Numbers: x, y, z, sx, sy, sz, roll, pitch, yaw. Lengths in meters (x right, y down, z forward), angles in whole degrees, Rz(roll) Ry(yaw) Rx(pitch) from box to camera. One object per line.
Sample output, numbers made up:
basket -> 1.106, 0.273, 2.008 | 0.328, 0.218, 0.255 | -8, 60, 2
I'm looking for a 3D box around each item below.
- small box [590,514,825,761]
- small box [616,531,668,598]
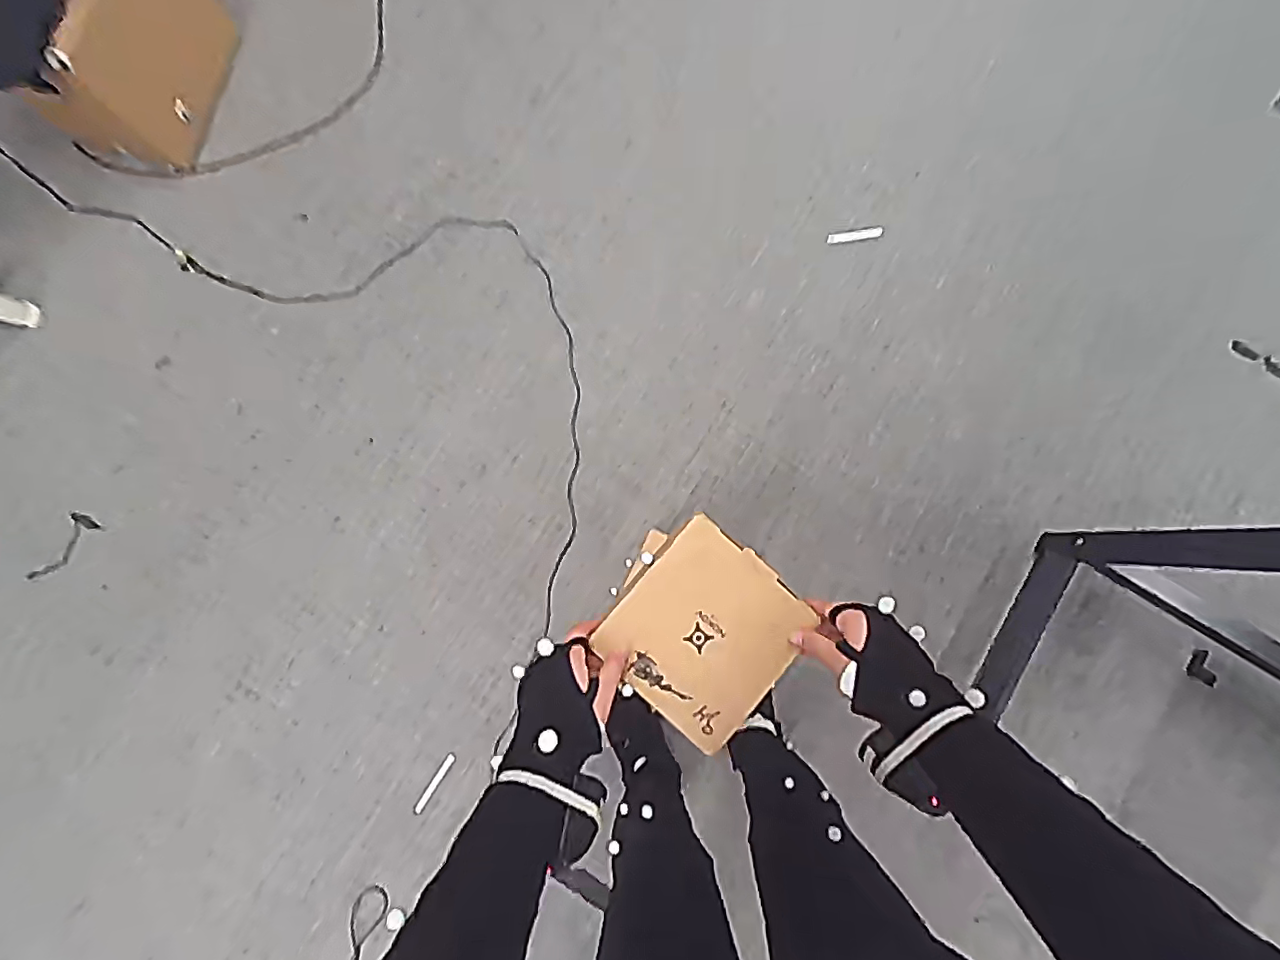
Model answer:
small box -> 0.063, 0.159, 0.600 | 0.168, 0.176, 0.179 | 41, 84, 5
small box -> 0.052, 0.209, 0.993 | 0.168, 0.176, 0.179 | 25, 82, 2
